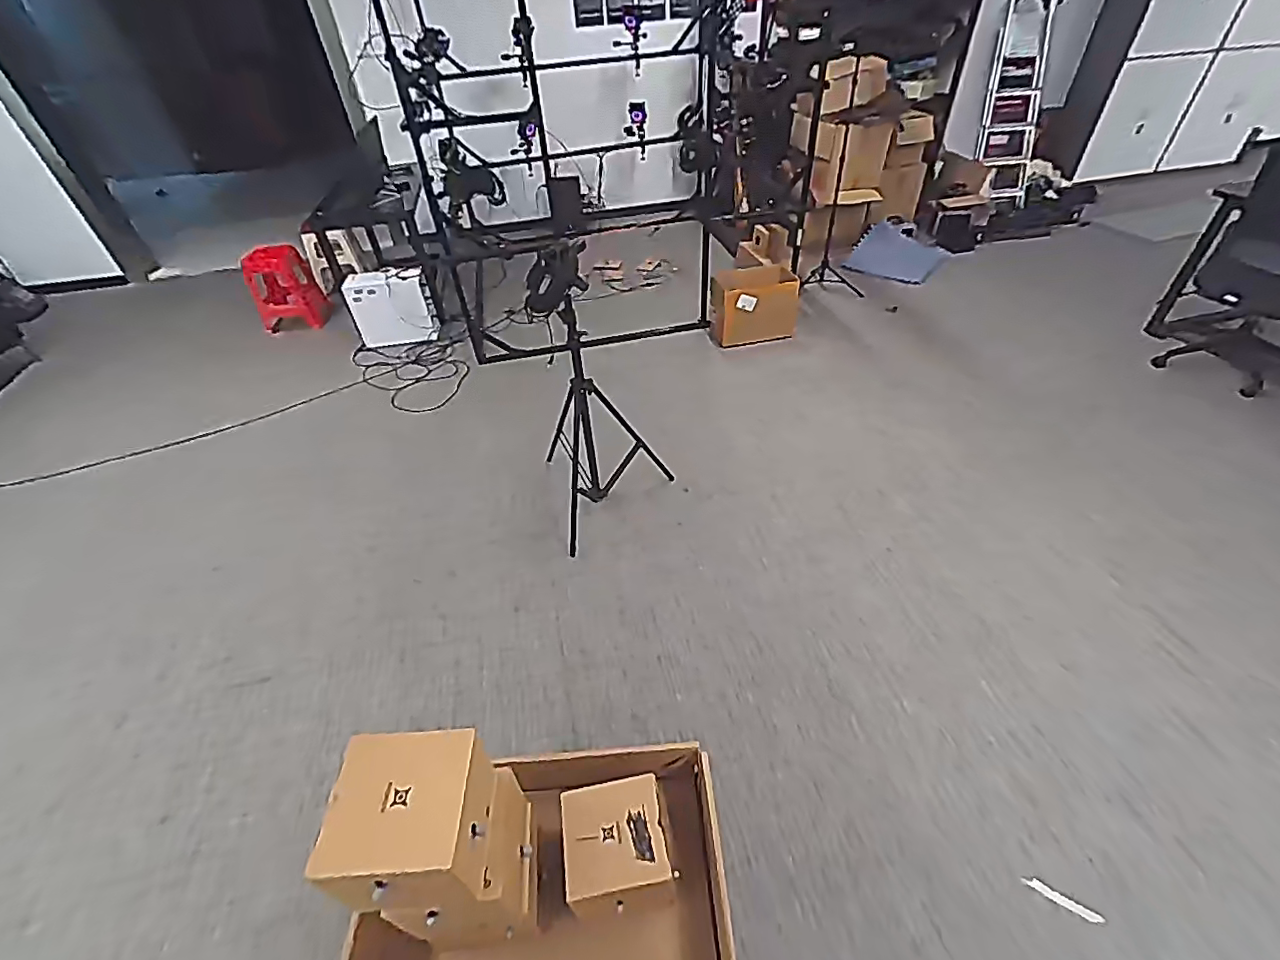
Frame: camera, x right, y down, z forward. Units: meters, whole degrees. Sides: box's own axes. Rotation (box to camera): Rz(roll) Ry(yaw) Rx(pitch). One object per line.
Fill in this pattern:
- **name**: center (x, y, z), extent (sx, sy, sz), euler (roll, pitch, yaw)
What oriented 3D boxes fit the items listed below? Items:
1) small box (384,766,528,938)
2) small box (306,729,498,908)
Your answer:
- **small box**: center (-0.273, 0.582, 0.849), extent (0.168, 0.176, 0.179), euler (-6, 41, -3)
- **small box**: center (-0.303, 0.462, 0.739), extent (0.179, 0.176, 0.168), euler (-4, 42, -1)
